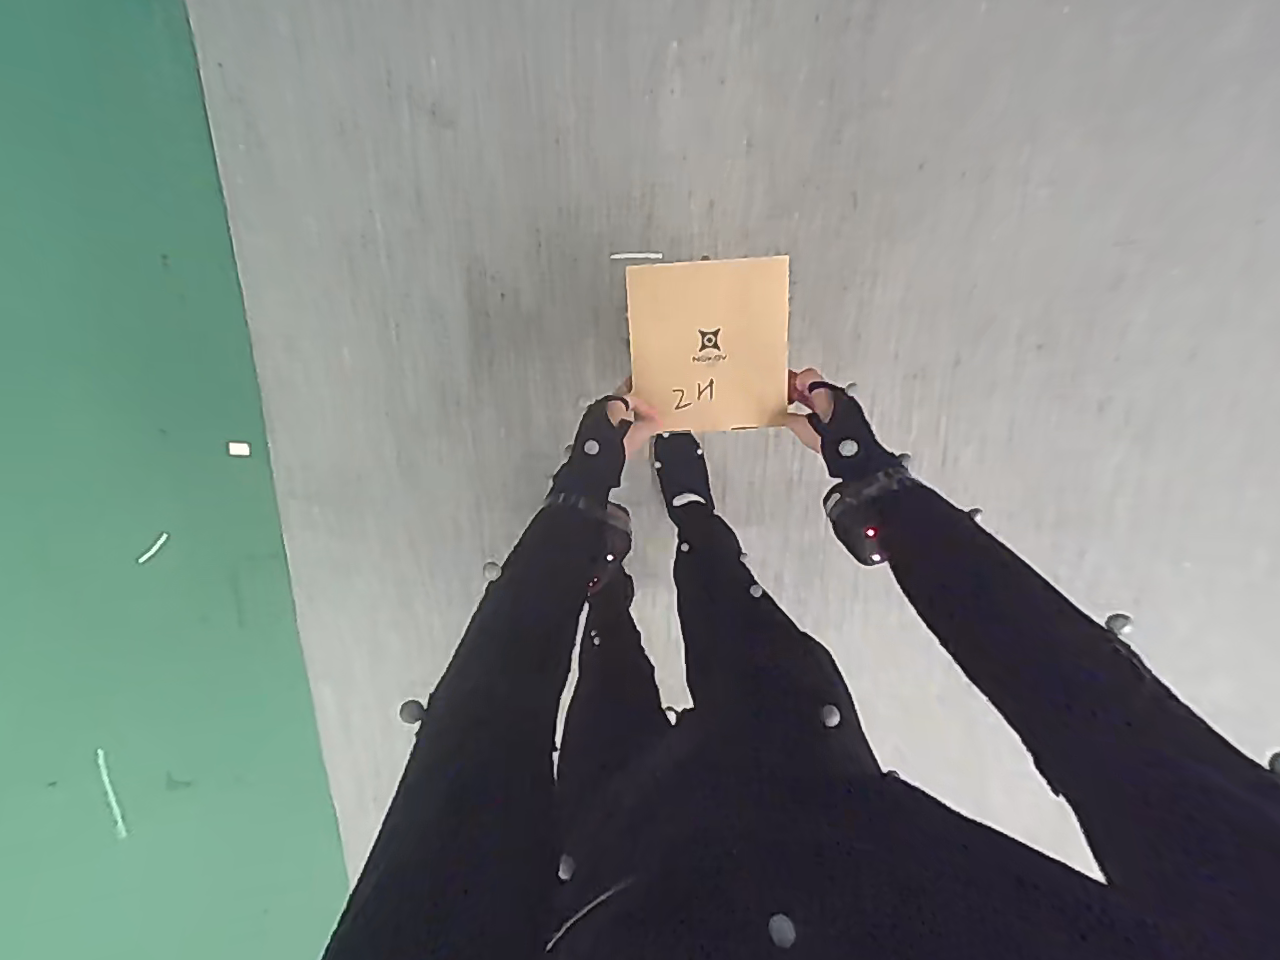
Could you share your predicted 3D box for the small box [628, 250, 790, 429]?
[{"bbox_3d":[0.074,-0.160,0.635,0.168,0.176,0.179,-2,105,4],"label":"small box"}]
